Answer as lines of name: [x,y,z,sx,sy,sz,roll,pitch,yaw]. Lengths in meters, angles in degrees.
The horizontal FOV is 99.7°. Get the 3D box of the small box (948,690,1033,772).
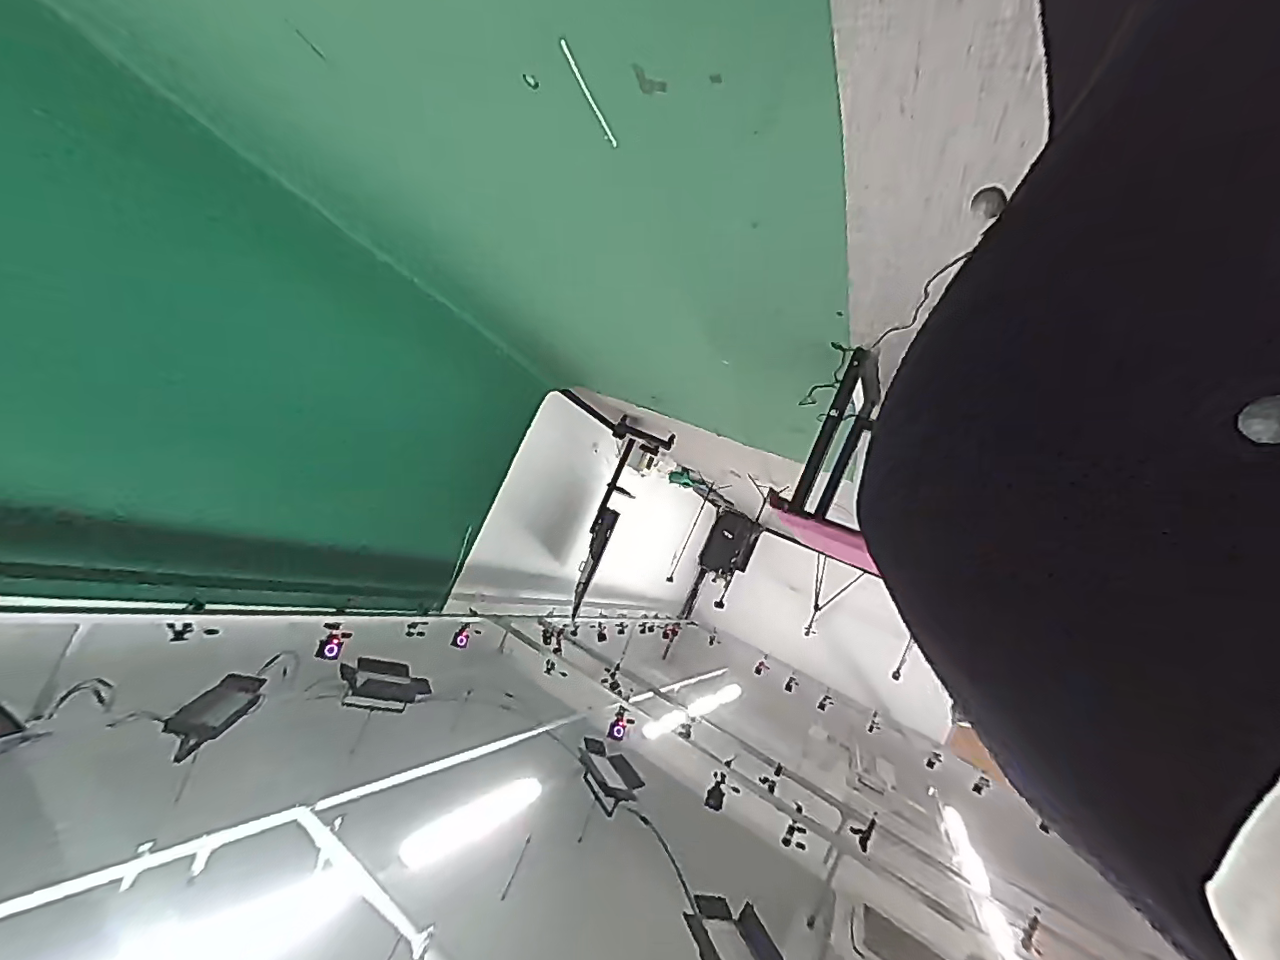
small box: [1.148,0.815,1.778,0.179,0.176,0.168,24,177,28]
